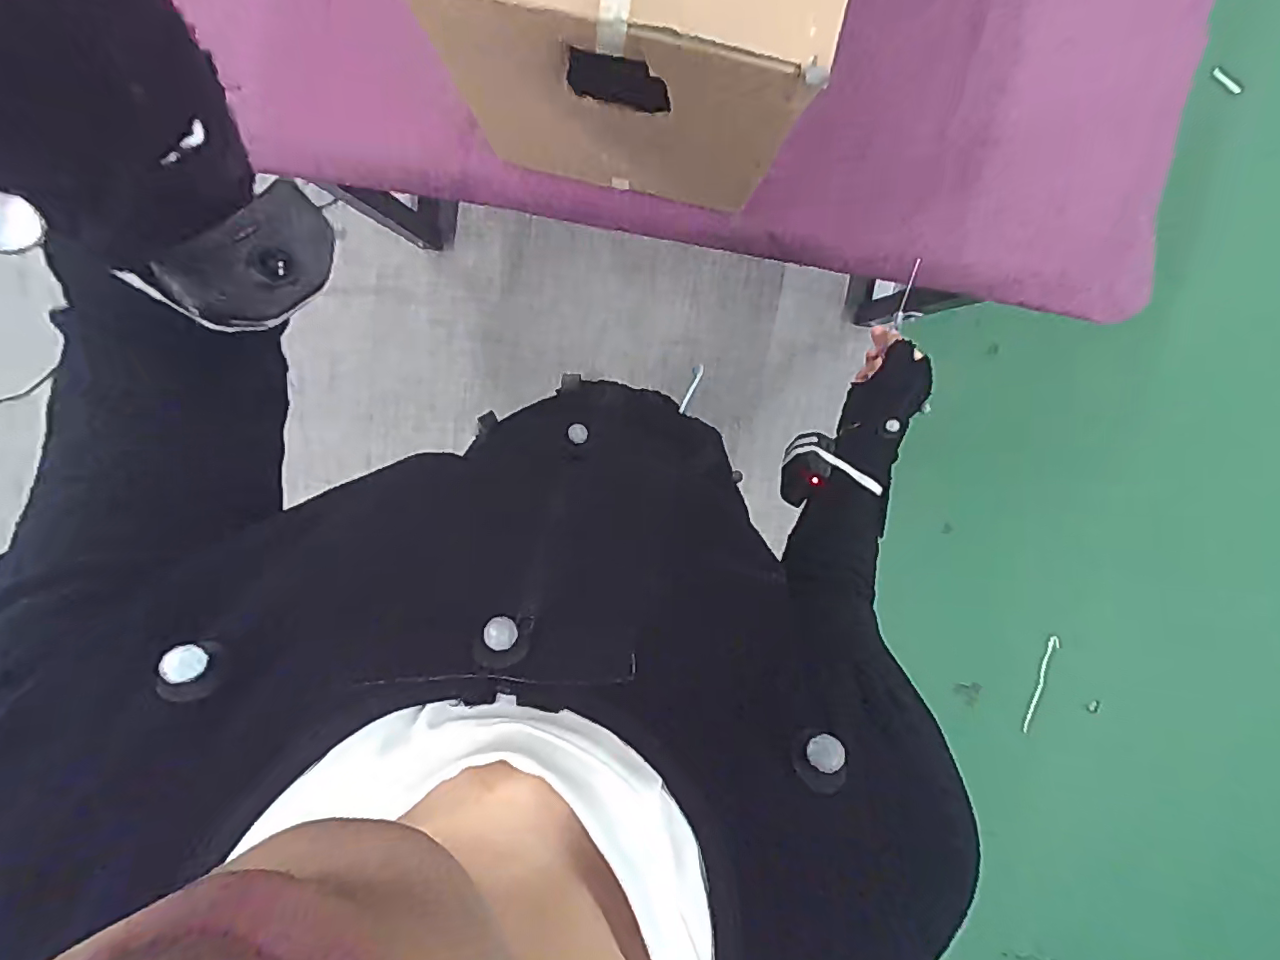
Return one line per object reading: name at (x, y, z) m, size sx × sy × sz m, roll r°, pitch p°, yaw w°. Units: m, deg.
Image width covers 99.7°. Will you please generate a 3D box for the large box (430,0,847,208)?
large box at (0.025, -0.540, 0.507) m, size 0.320 × 0.320 × 0.408 m, roll 12°, pitch 100°, yaw -3°
